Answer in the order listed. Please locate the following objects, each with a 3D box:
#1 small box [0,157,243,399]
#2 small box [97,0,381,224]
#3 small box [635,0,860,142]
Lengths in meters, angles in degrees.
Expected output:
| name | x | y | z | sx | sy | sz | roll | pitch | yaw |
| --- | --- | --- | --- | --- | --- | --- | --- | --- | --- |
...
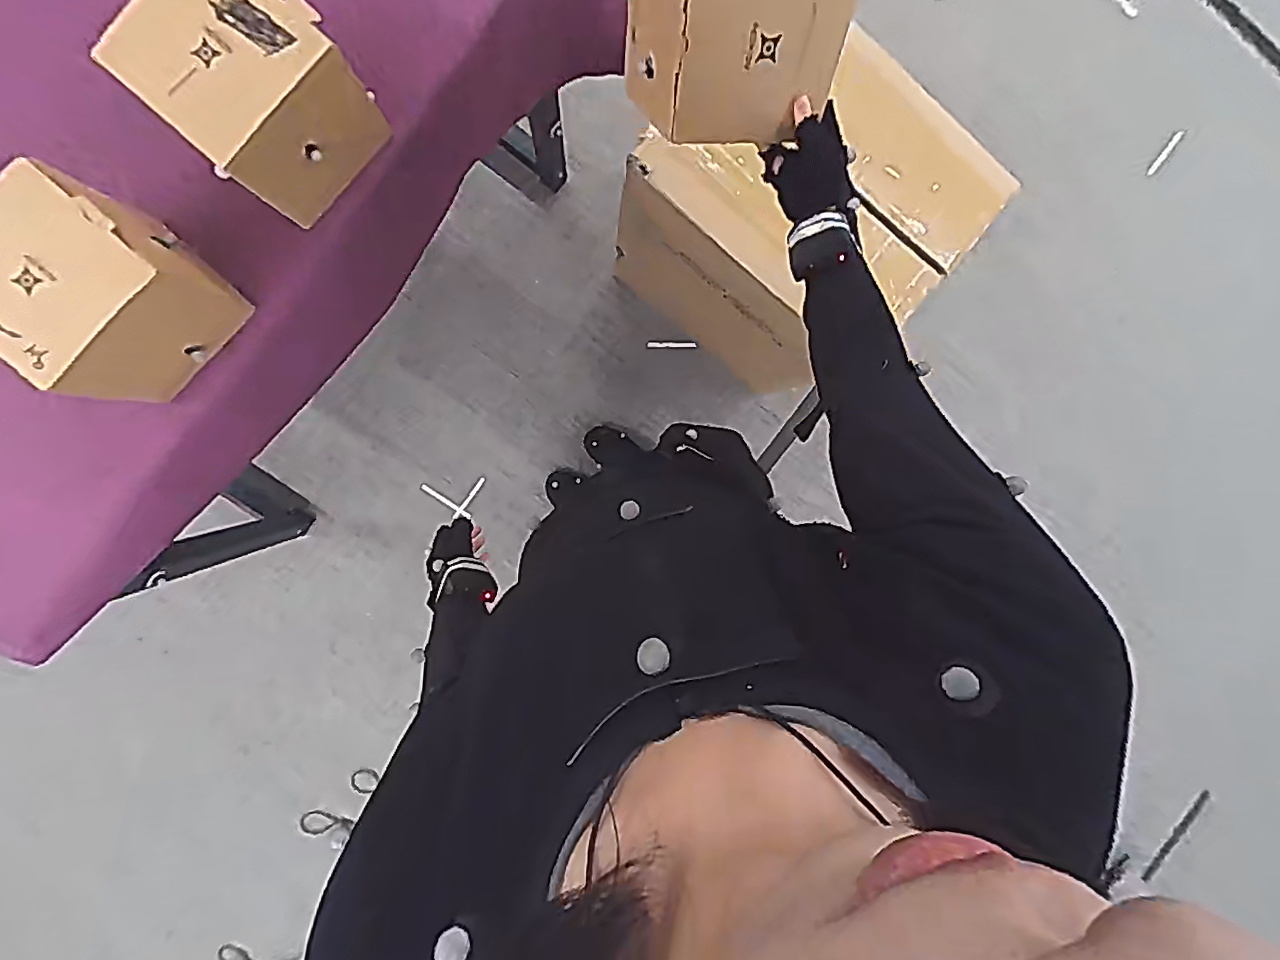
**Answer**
| name | x | y | z | sx | sy | sz | roll | pitch | yaw |
| --- | --- | --- | --- | --- | --- | --- | --- | --- | --- |
| small box | -0.616 | -0.215 | 0.629 | 0.168 | 0.176 | 0.179 | 43 | 89 | -6 |
| small box | -0.434 | -0.443 | 0.628 | 0.168 | 0.176 | 0.179 | 42 | 90 | -6 |
| small box | 0.101 | -0.477 | 0.568 | 0.179 | 0.168 | 0.176 | -10 | 51 | -15 |
